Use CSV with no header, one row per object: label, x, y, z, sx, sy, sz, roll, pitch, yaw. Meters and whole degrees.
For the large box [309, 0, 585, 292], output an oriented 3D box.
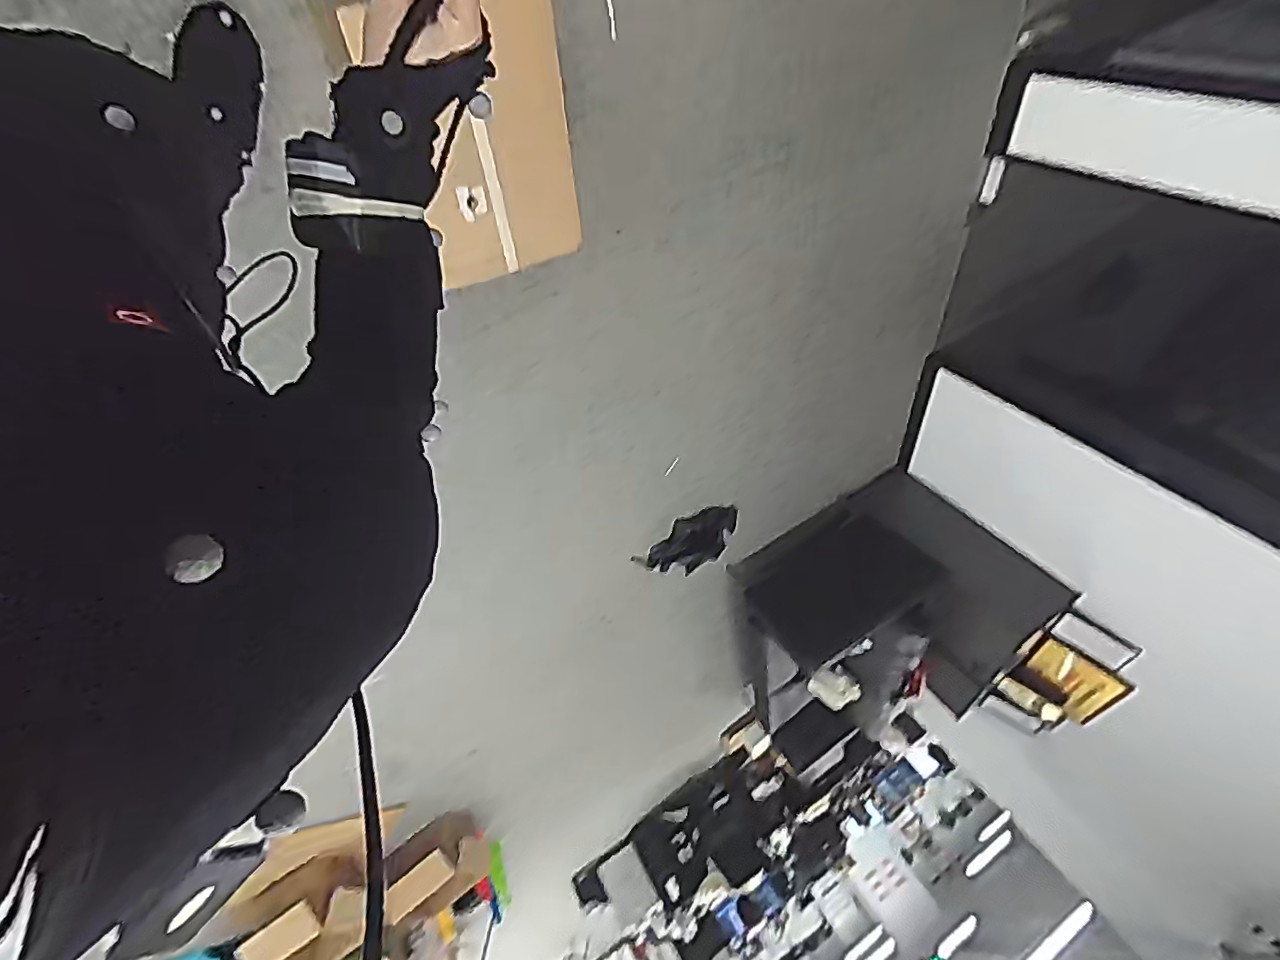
large box,-0.331,-0.633,0.991,0.320,0.320,0.408,-25,140,-18
